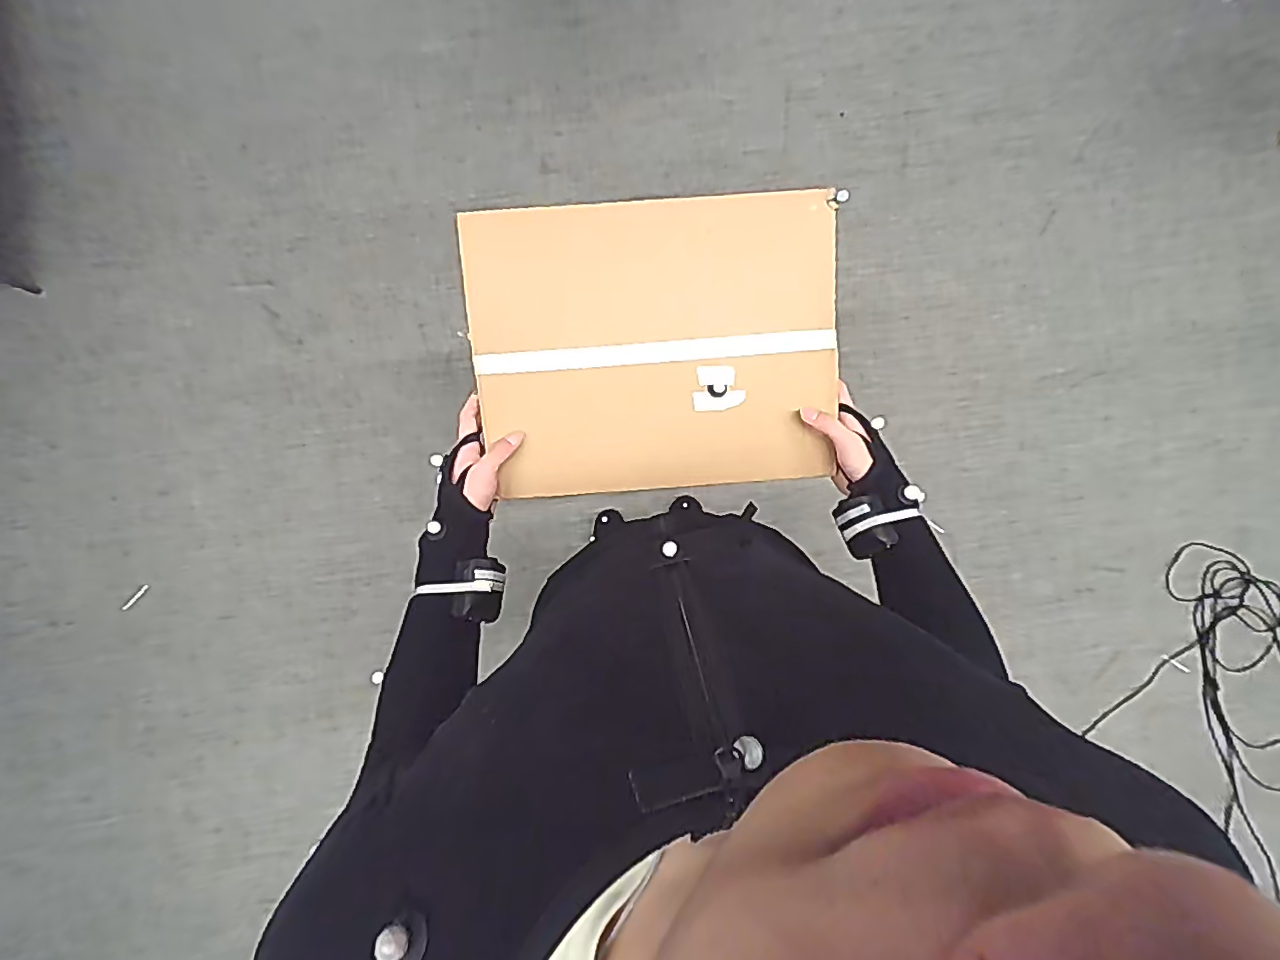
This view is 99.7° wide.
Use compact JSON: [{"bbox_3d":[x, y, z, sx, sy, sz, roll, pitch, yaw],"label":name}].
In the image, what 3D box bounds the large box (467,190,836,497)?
[{"bbox_3d":[0.016,-0.173,0.757,0.408,0.320,0.320,-5,101,-1],"label":"large box"}]
